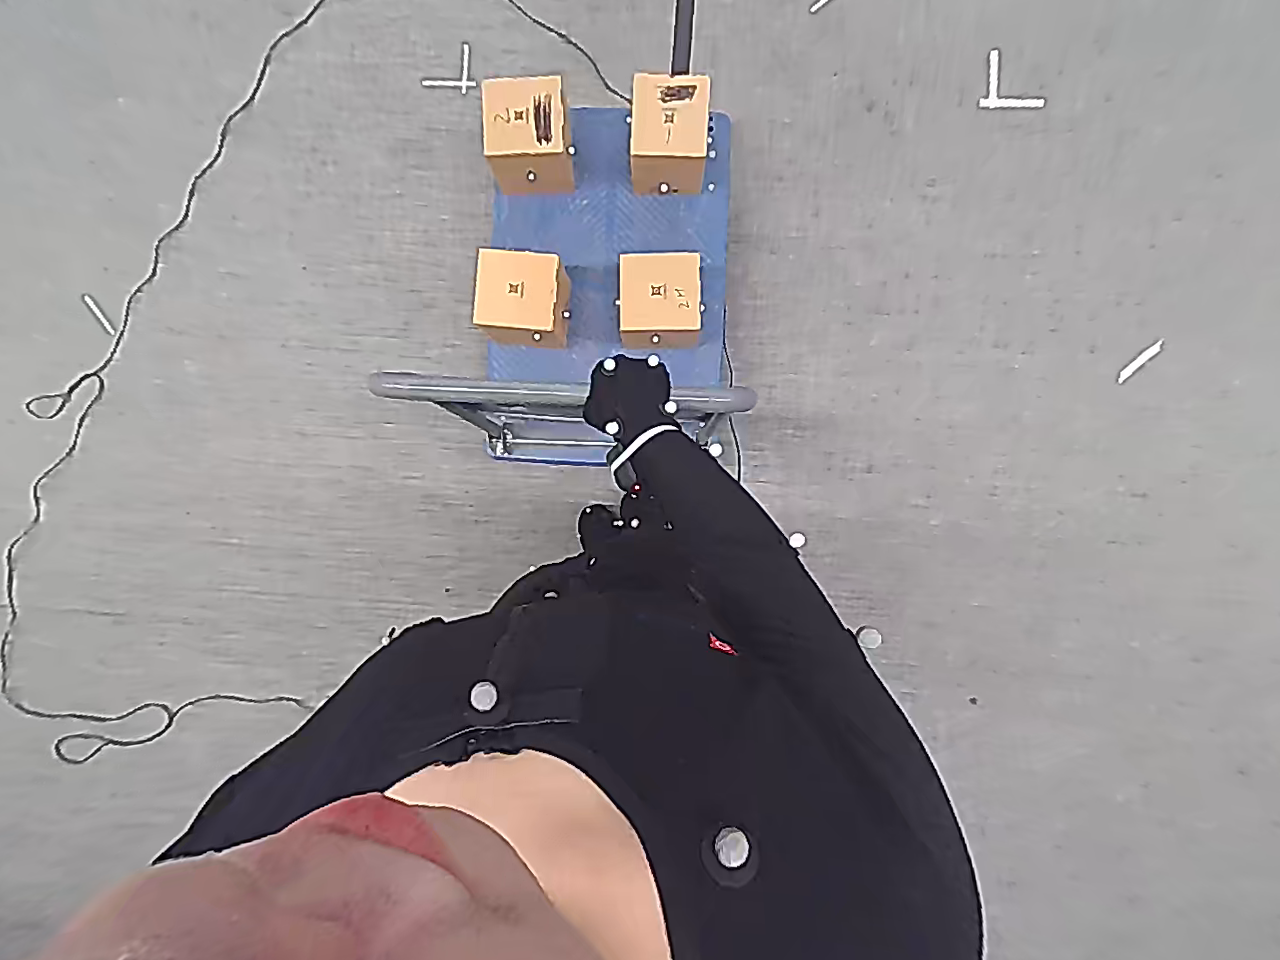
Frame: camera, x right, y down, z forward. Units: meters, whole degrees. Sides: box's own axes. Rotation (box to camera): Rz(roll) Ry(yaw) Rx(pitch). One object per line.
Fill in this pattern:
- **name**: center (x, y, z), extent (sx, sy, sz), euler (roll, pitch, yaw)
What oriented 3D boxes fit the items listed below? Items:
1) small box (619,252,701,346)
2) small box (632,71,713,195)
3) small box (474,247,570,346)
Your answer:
- **small box**: center (0.046, -0.405, 1.232), extent (0.179, 0.176, 0.168), euler (0, 90, 1)
- **small box**: center (0.069, -0.781, 1.229), extent (0.168, 0.176, 0.179), euler (3, 91, 2)
- **small box**: center (-0.263, -0.413, 1.240), extent (0.179, 0.176, 0.168), euler (5, 90, 0)
